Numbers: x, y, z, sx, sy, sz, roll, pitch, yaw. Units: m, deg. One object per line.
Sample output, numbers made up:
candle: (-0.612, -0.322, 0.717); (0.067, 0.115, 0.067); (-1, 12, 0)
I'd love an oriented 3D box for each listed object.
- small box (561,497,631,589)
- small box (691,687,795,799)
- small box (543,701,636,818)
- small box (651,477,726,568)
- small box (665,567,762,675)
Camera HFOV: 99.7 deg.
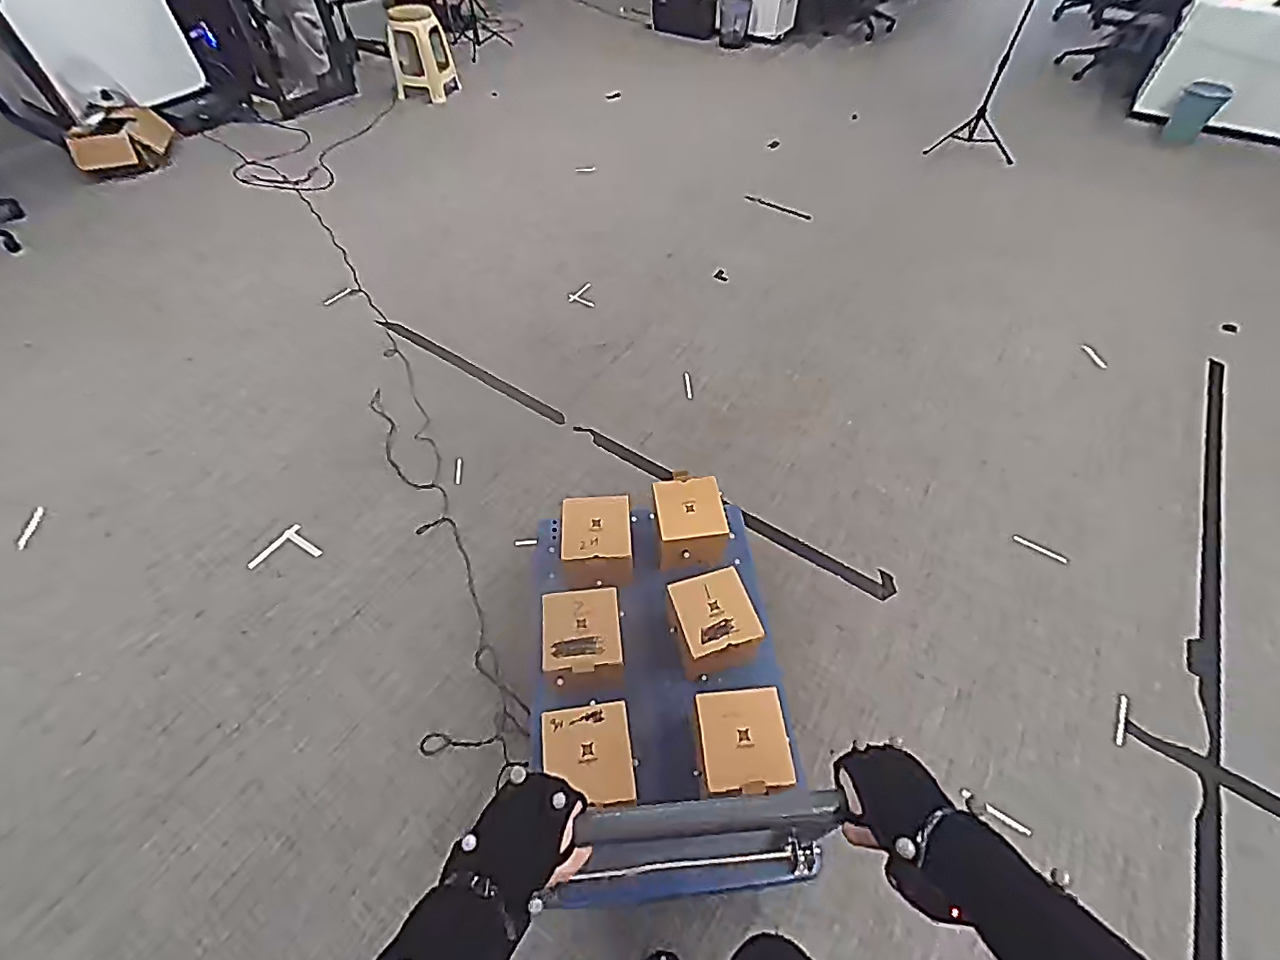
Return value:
small box: (-0.107, 0.162, 1.375); (0.168, 0.176, 0.179); (-3, 54, -2)
small box: (0.199, 0.538, 1.098); (0.168, 0.176, 0.179); (-3, 53, -3)
small box: (-0.098, 0.562, 1.077); (0.168, 0.176, 0.179); (-6, 54, -6)
small box: (0.121, 0.117, 1.411); (0.168, 0.176, 0.179); (-7, 54, -5)
small box: (0.162, 0.332, 1.250); (0.168, 0.176, 0.179); (-14, 54, -10)
